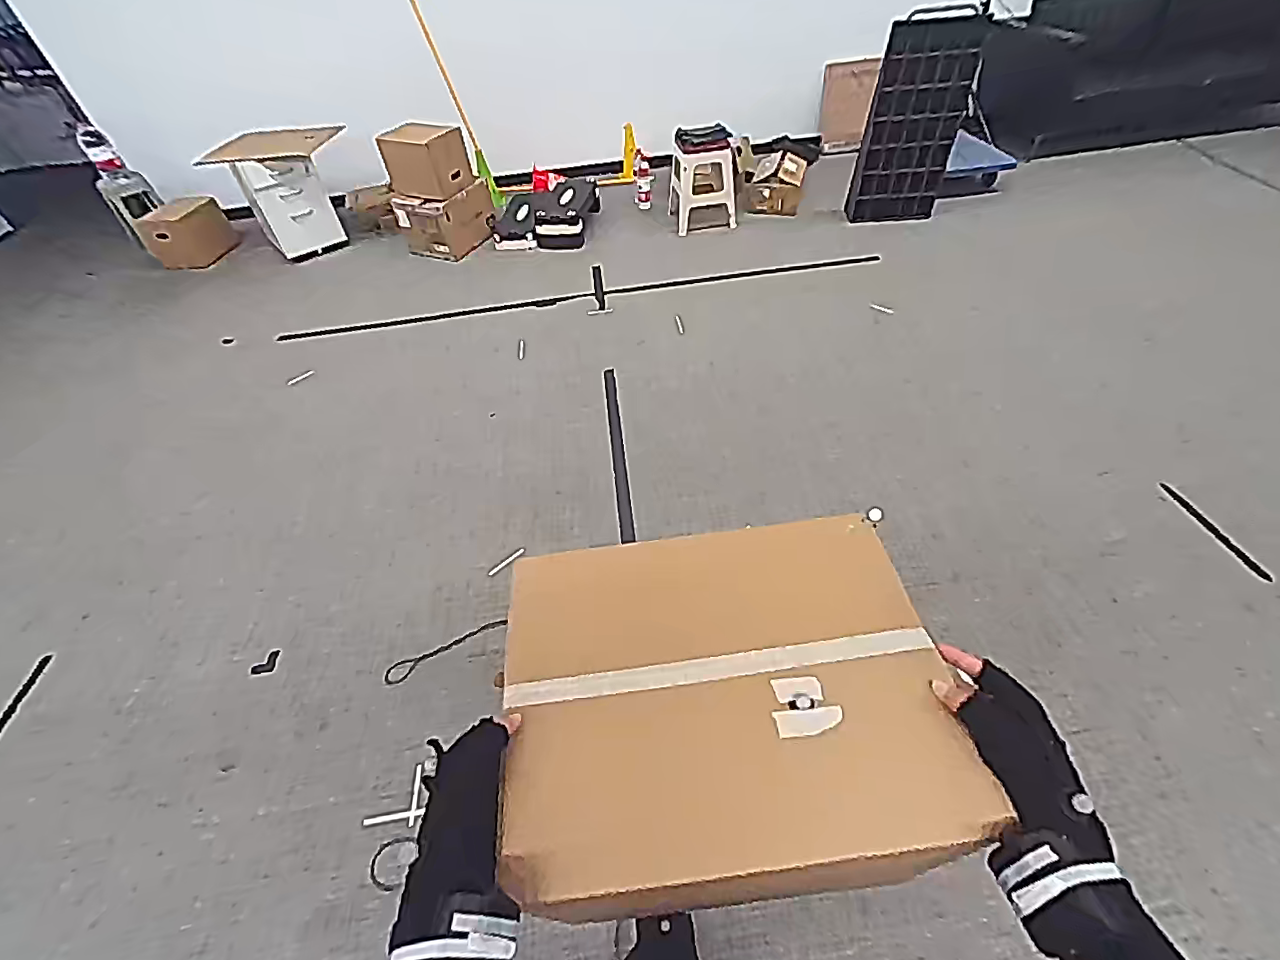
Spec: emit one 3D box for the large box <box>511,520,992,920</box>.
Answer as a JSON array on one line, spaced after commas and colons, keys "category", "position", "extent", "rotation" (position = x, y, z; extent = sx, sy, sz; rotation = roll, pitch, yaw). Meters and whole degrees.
[{"category": "large box", "position": [0.084, 0.286, 0.639], "extent": [0.408, 0.320, 0.320], "rotation": [-8, 49, -1]}]
